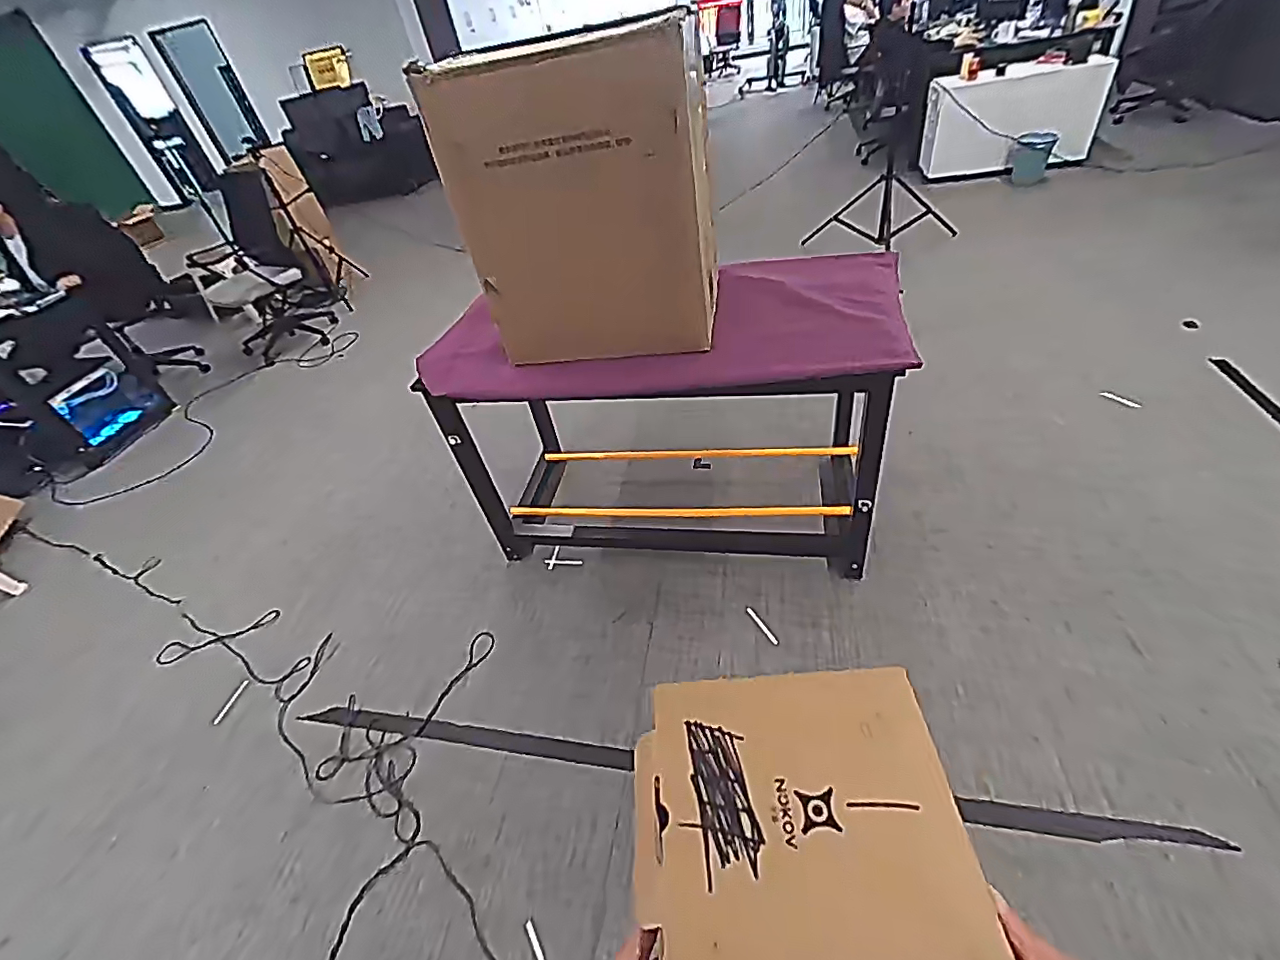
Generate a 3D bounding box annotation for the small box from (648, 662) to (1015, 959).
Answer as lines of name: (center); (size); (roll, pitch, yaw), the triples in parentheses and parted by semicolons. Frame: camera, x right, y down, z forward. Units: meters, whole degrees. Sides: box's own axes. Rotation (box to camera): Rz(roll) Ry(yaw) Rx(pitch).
small box: (0.104, 0.246, 0.372); (0.179, 0.176, 0.168); (-6, 45, 4)
